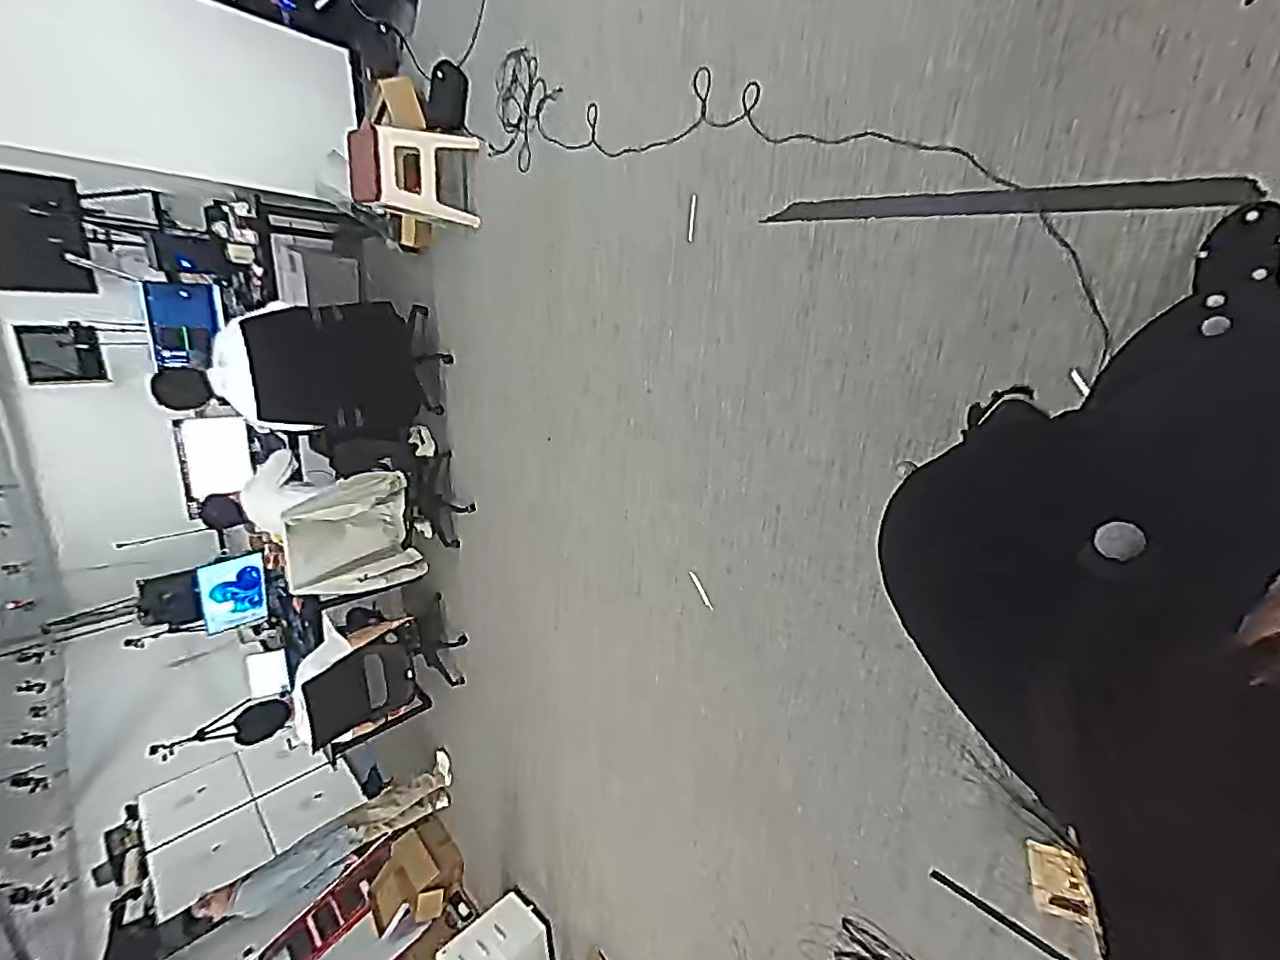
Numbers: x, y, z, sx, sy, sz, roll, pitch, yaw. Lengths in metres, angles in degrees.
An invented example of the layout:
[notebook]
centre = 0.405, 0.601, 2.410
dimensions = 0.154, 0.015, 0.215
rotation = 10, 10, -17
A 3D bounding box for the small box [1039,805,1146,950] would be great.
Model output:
[small box]
centre = 1.053, 0.909, 1.256
dimensions = 0.168, 0.176, 0.179
rotation = -6, 95, 46
